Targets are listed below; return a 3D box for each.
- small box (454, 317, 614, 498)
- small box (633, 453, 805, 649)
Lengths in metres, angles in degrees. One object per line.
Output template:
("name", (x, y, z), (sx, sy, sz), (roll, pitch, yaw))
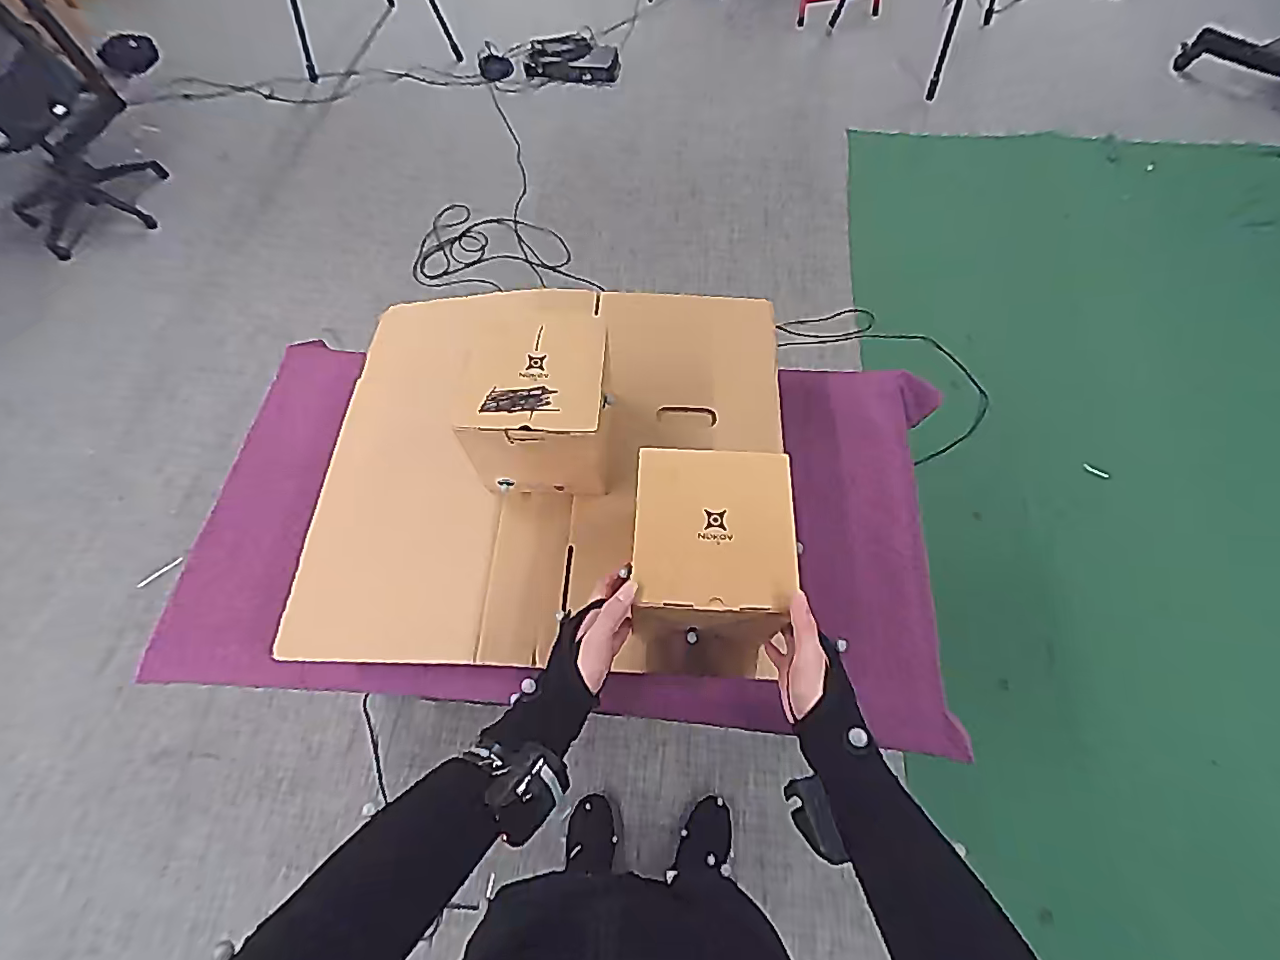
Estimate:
("small box", (-0.123, -0.087, 0.708), (0.168, 0.176, 0.179), (2, 63, 0))
("small box", (0.079, 0.088, 0.624), (0.168, 0.176, 0.179), (3, 64, 1))
